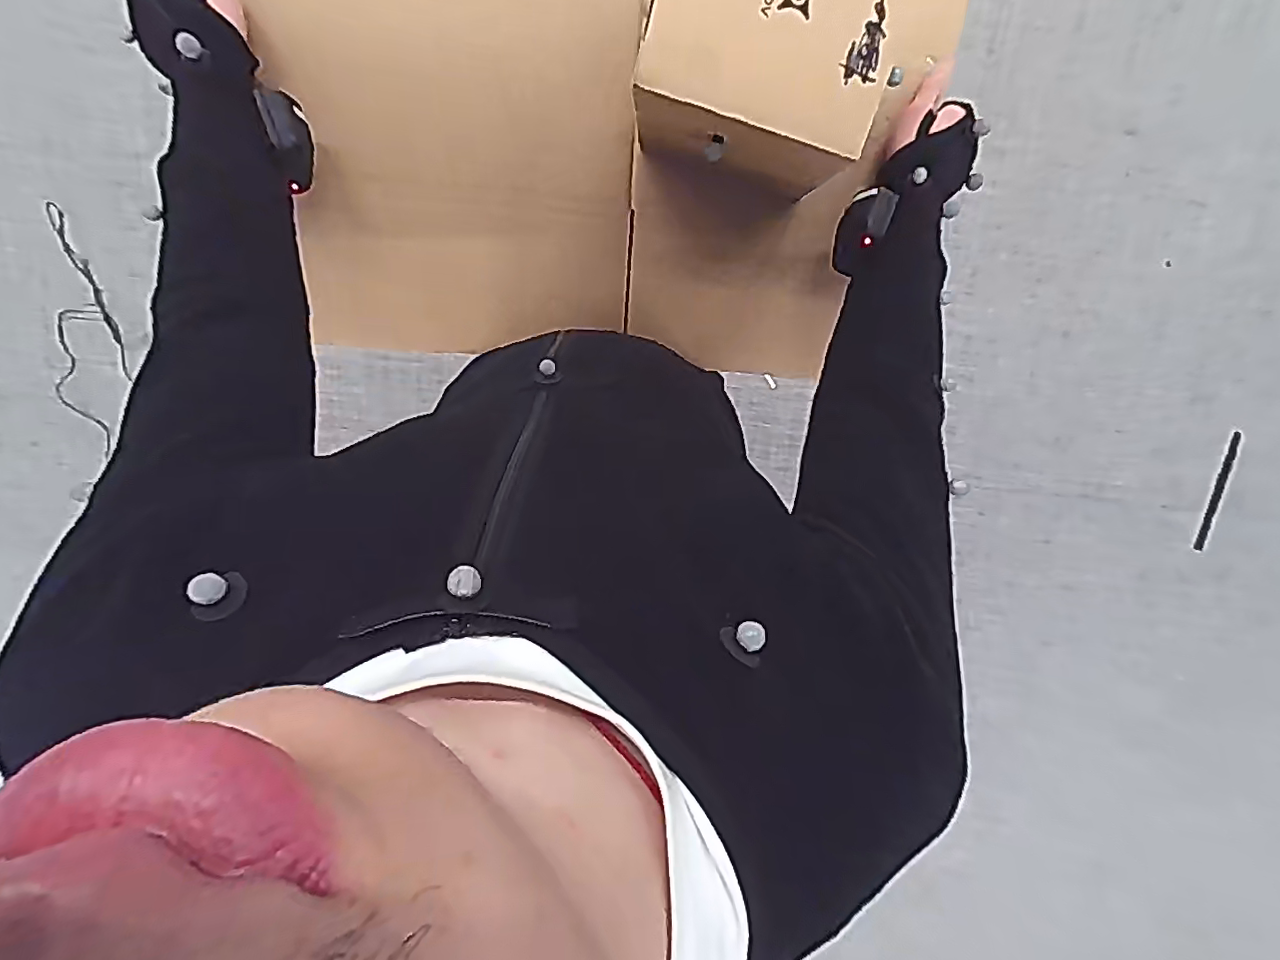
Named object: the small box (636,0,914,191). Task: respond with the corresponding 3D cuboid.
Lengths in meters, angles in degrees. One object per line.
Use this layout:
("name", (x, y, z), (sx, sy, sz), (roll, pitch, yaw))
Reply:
("small box", (0.106, -0.363, 0.451), (0.179, 0.176, 0.168), (17, 109, -3))
